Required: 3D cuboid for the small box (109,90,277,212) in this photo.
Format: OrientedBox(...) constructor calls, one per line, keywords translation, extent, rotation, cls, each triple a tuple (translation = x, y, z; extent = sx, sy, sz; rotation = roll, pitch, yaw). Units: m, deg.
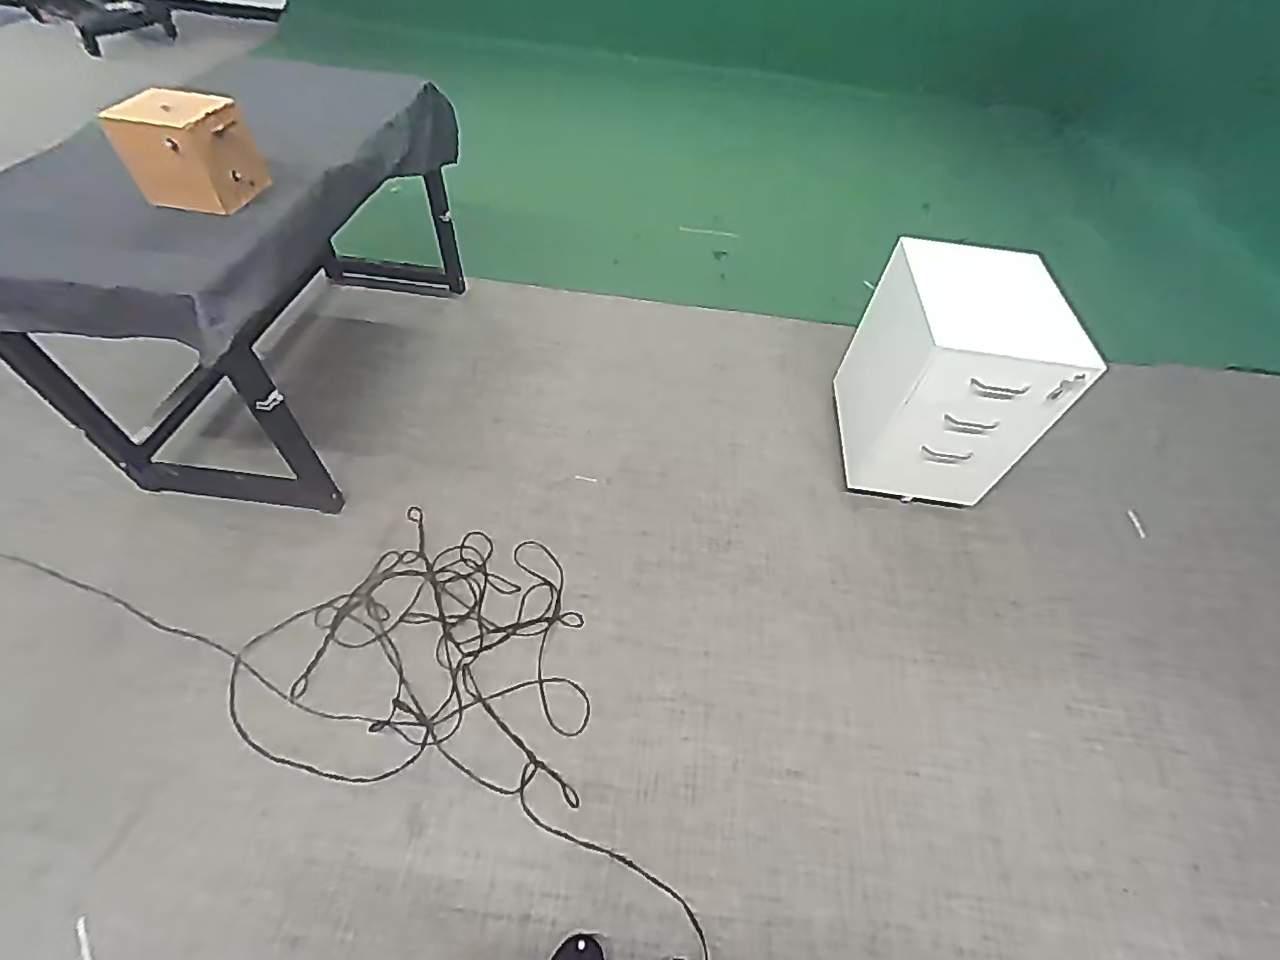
OrientedBox(translation=(-0.914, -0.683, 1.128), extent=(0.179, 0.176, 0.168), rotation=(9, 51, 1), cls="small box")
